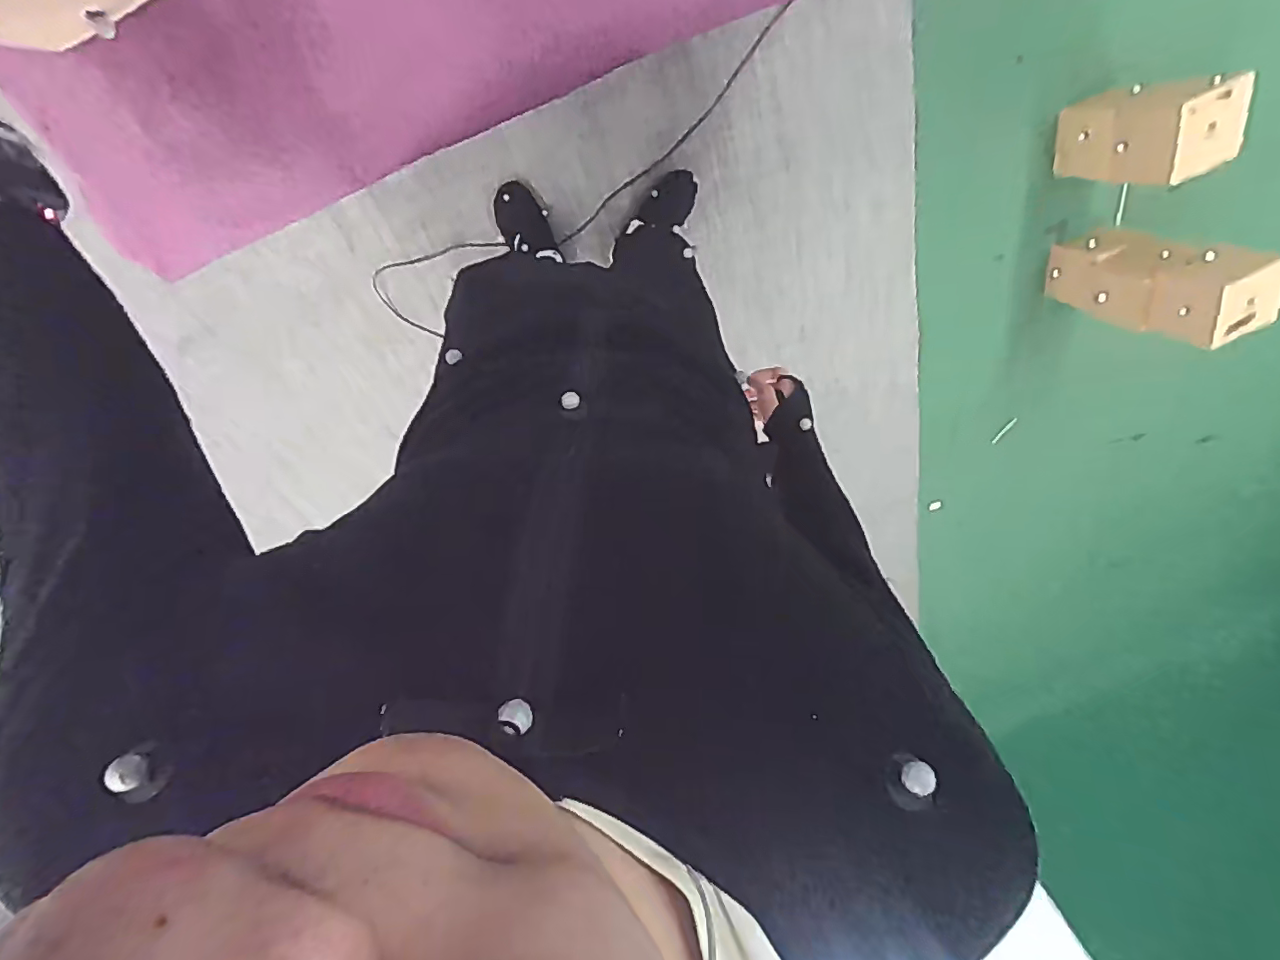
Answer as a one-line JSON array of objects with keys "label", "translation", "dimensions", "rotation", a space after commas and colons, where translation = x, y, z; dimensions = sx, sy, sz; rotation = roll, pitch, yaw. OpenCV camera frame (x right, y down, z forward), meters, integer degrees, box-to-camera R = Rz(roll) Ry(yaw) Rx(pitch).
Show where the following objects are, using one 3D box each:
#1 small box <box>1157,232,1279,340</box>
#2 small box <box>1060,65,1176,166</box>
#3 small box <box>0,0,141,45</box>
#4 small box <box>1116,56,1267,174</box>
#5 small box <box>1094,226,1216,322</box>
[{"label": "small box", "translation": [1.446, -0.485, 1.341], "dimensions": [0.168, 0.176, 0.179], "rotation": [-27, 125, 7]}, {"label": "small box", "translation": [1.234, -0.934, 1.393], "dimensions": [0.179, 0.176, 0.168], "rotation": [-23, 125, 3]}, {"label": "small box", "translation": [-0.531, -0.481, 0.419], "dimensions": [0.168, 0.176, 0.179], "rotation": [-26, 126, 7]}, {"label": "small box", "translation": [1.264, -0.847, 1.258], "dimensions": [0.168, 0.176, 0.179], "rotation": [-25, 126, 4]}, {"label": "small box", "translation": [1.401, -0.568, 1.478], "dimensions": [0.179, 0.176, 0.168], "rotation": [-29, 125, 8]}]
